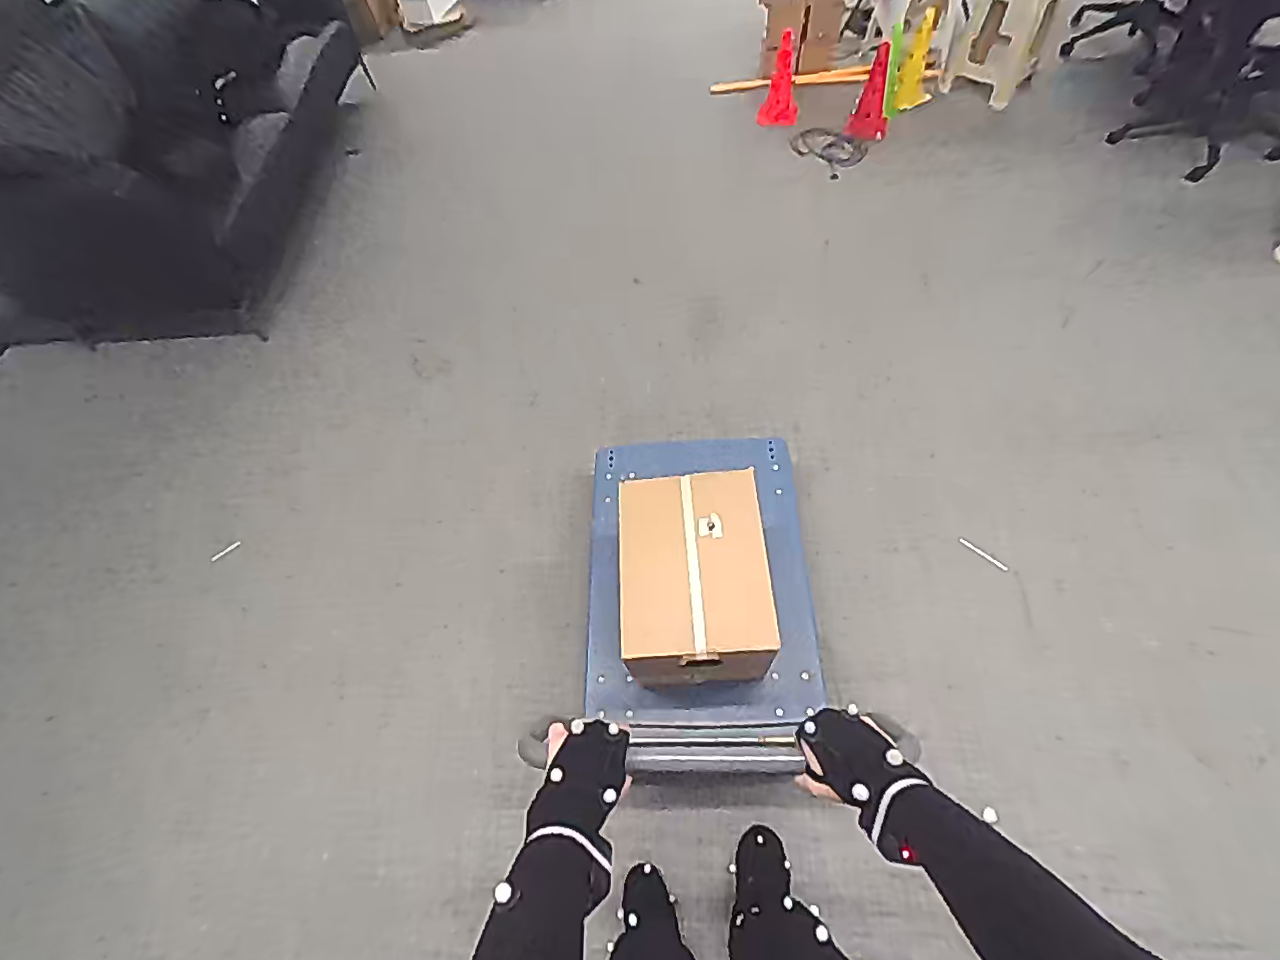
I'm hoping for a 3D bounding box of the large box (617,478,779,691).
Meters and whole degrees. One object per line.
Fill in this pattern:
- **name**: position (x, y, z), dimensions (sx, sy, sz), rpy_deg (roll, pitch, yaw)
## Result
- **large box**: position (0.127, 0.256, 1.281), dimensions (0.320, 0.320, 0.408), rpy_deg (-5, 60, 4)
